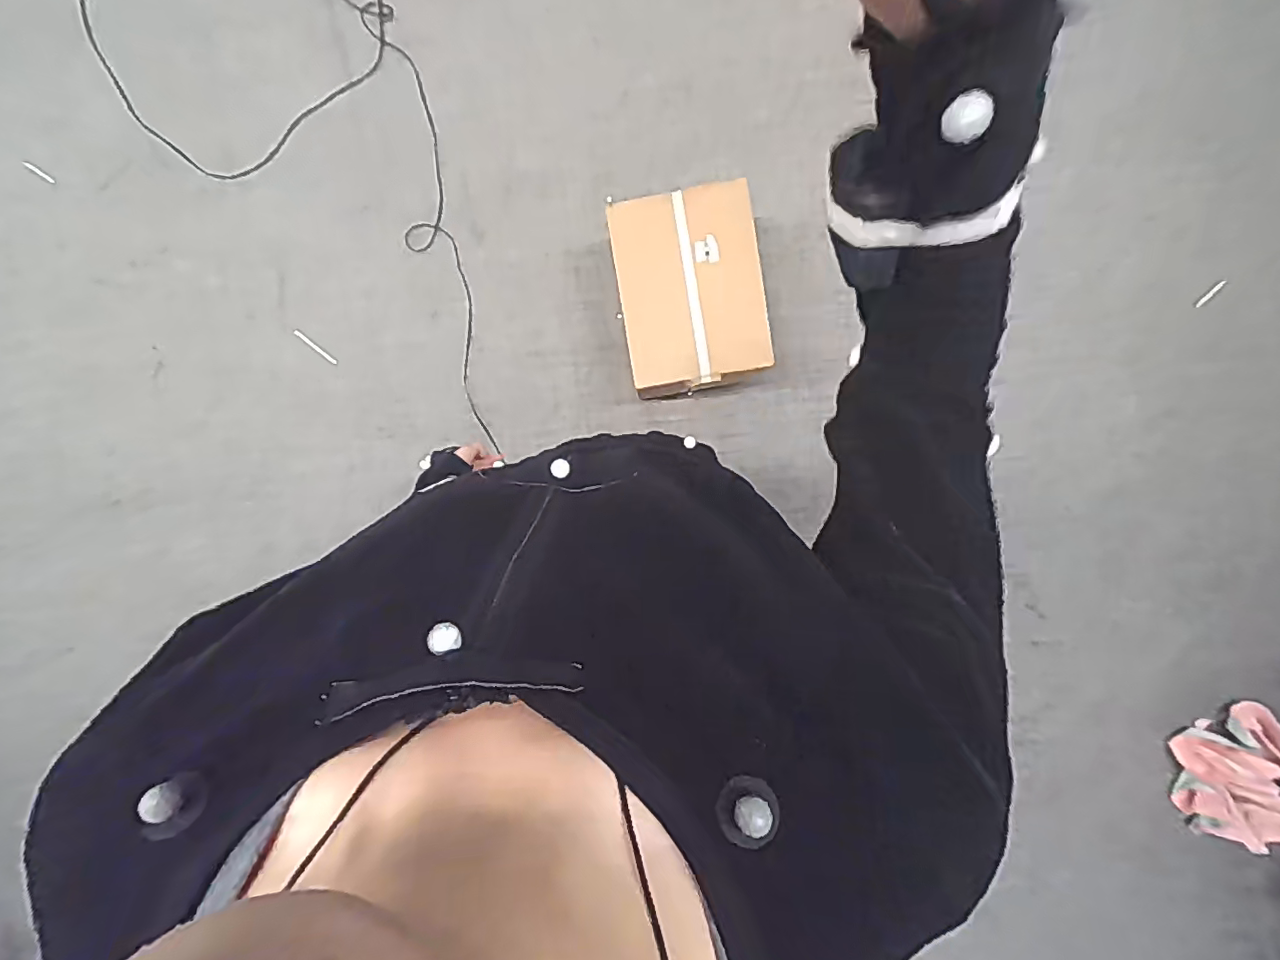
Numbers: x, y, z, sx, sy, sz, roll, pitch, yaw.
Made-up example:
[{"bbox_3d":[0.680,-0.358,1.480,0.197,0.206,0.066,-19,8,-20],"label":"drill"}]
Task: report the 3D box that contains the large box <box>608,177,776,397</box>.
[{"bbox_3d":[0.122,-0.439,1.325,0.320,0.320,0.408,-9,93,2],"label":"large box"}]
